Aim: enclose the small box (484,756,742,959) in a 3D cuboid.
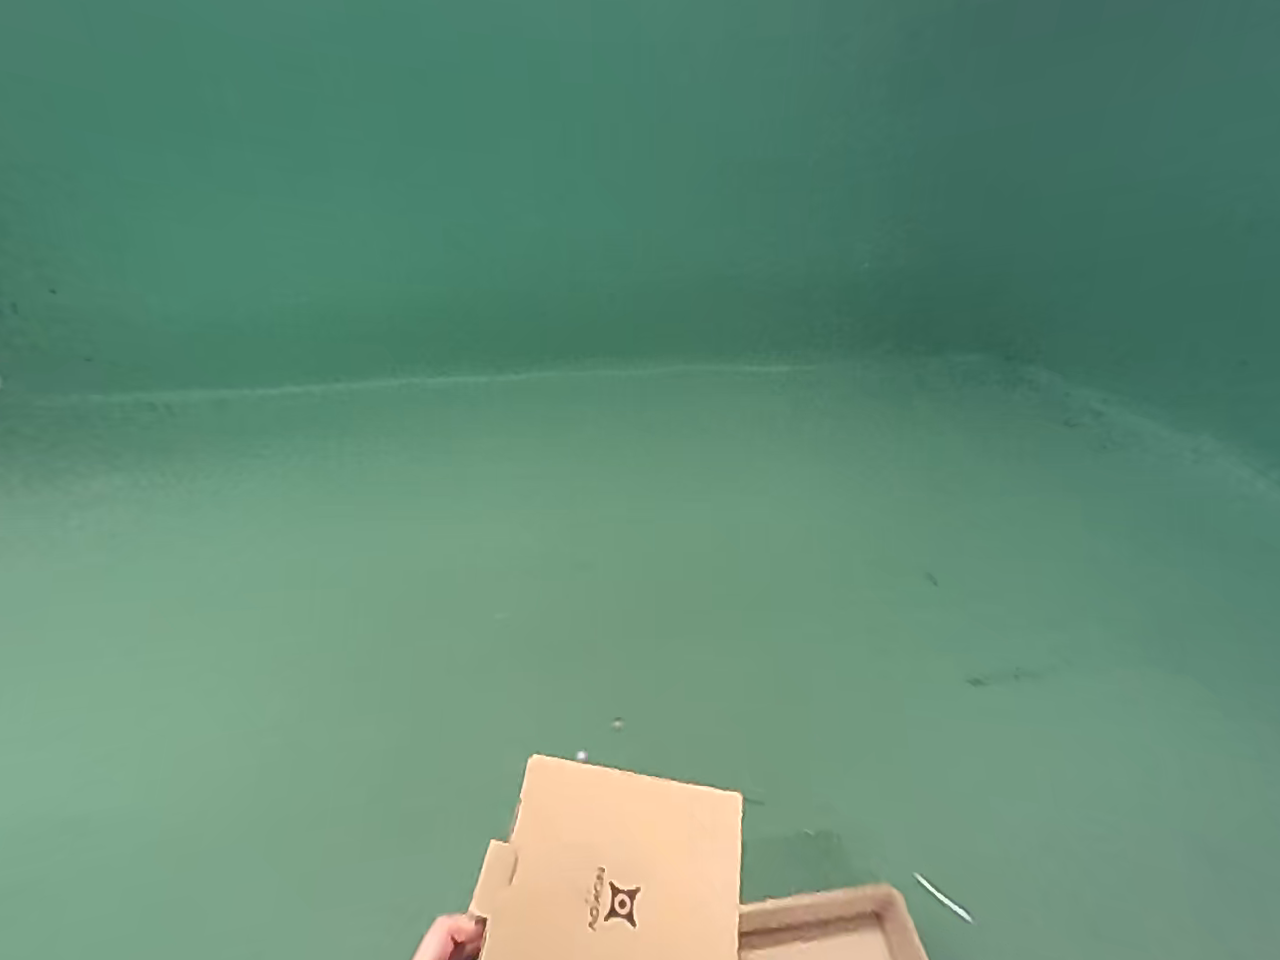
[{"bbox_3d":[-0.016,0.347,0.451,0.179,0.176,0.168,5,52,4],"label":"small box"}]
